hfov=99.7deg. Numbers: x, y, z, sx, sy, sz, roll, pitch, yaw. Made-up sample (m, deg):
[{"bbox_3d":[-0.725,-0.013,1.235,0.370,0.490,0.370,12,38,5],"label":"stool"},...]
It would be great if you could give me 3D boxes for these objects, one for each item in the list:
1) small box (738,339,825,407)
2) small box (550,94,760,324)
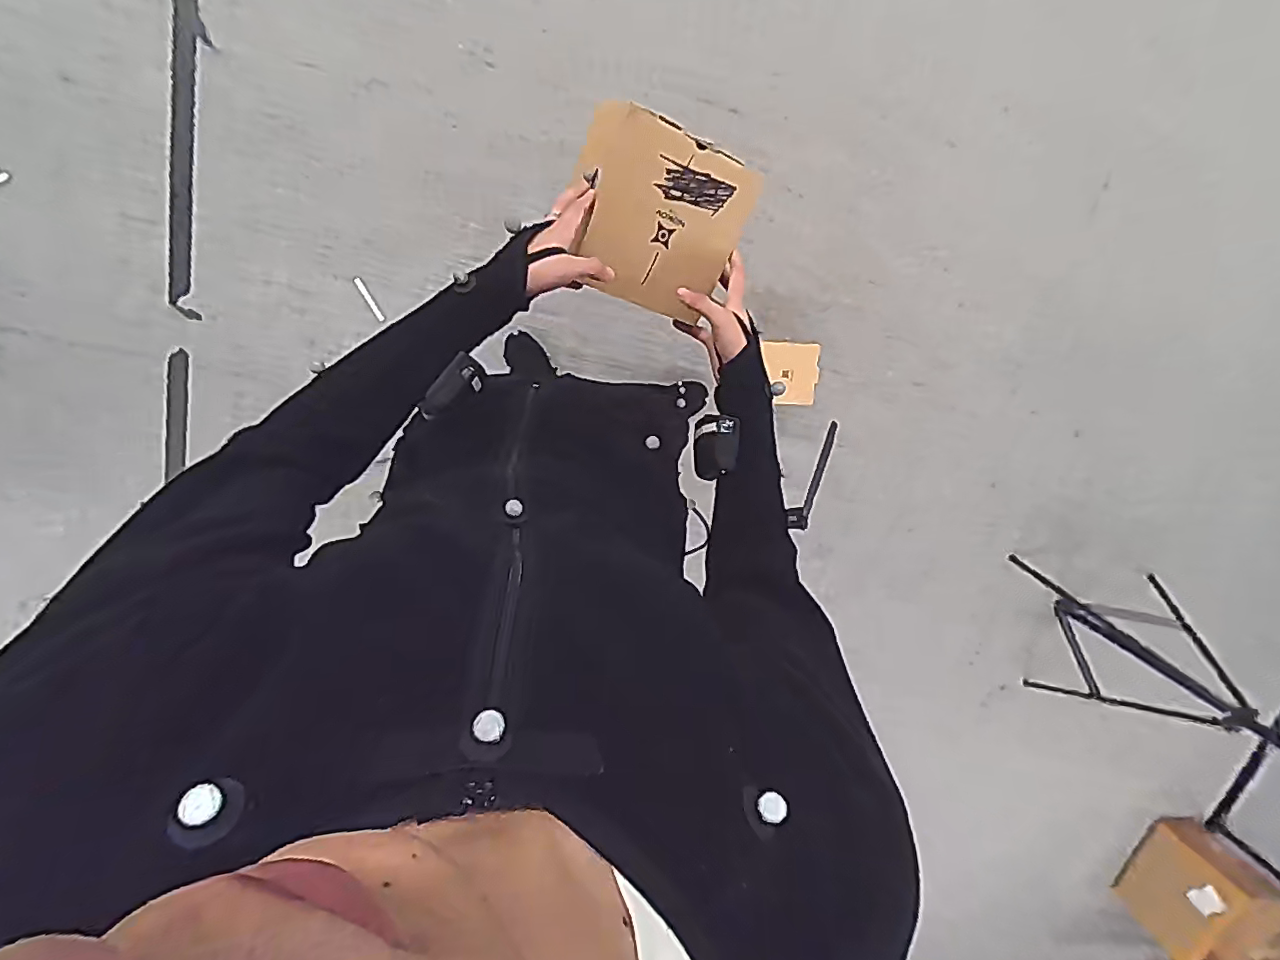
[{"bbox_3d":[0.391,-0.305,1.524,0.179,0.176,0.168,1,107,-7],"label":"small box"},{"bbox_3d":[0.002,-0.315,0.632,0.168,0.176,0.179,13,119,-25],"label":"small box"}]
